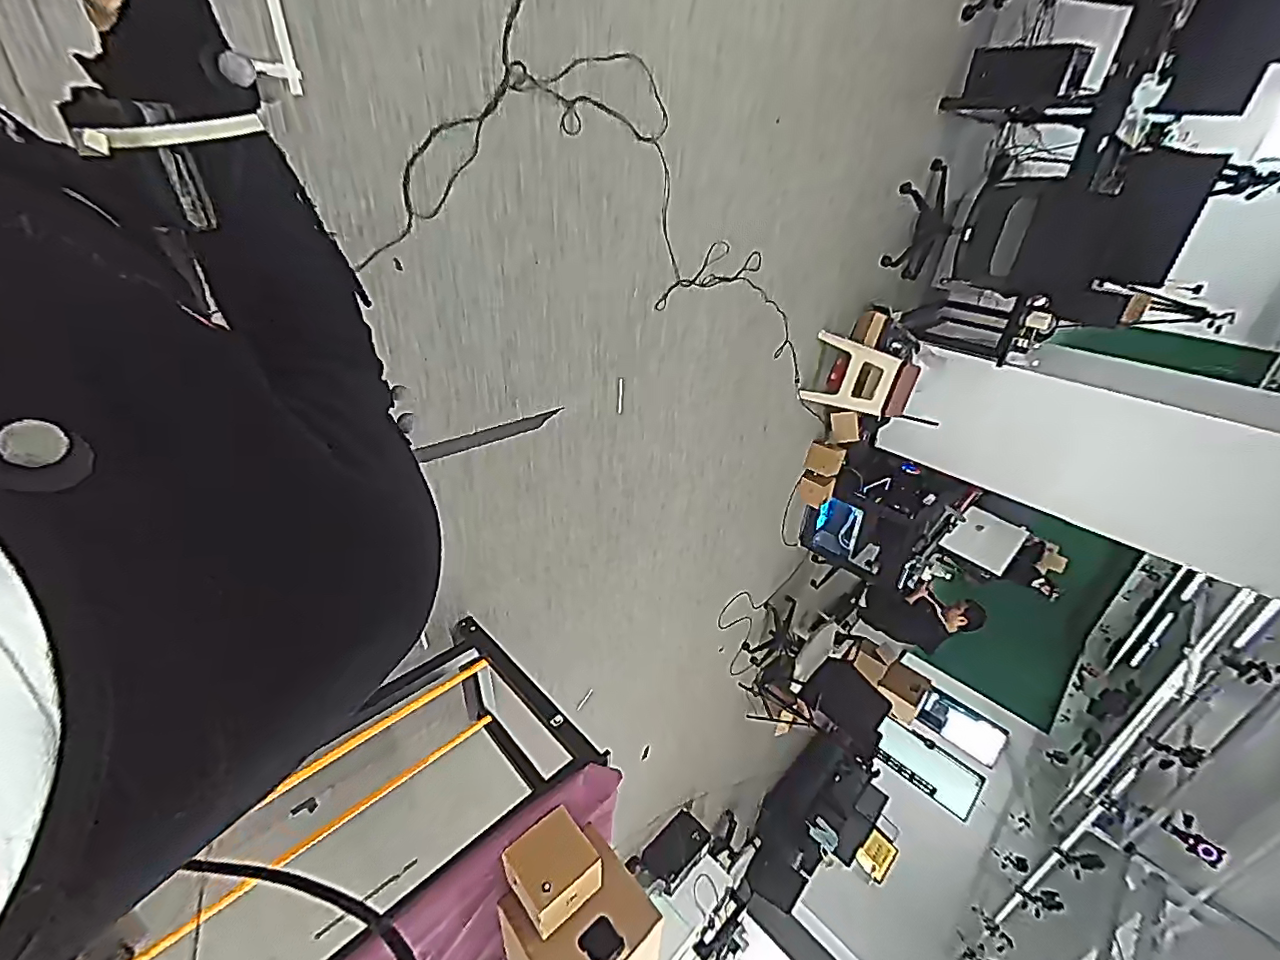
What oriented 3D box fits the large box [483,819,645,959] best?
[{"bbox_3d":[-0.204,1.255,1.491,0.320,0.320,0.408,-24,129,-37],"label":"large box"}]
